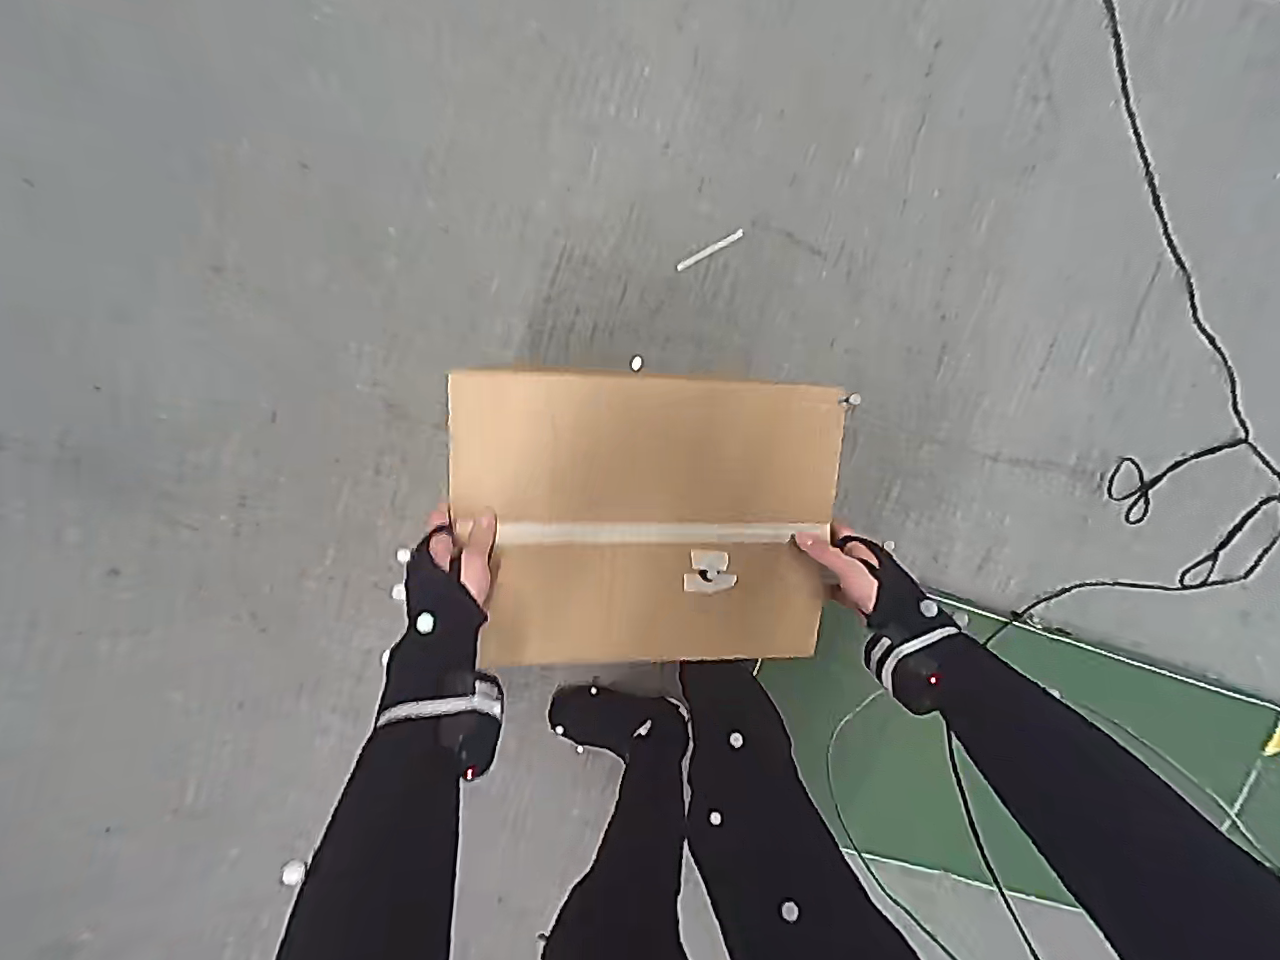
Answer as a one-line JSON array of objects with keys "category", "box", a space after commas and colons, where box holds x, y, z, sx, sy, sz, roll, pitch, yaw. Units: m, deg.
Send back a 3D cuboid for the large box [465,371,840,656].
[{"category": "large box", "box": [-0.006, 0.016, 0.734, 0.408, 0.320, 0.320, 2, 103, -8]}]
